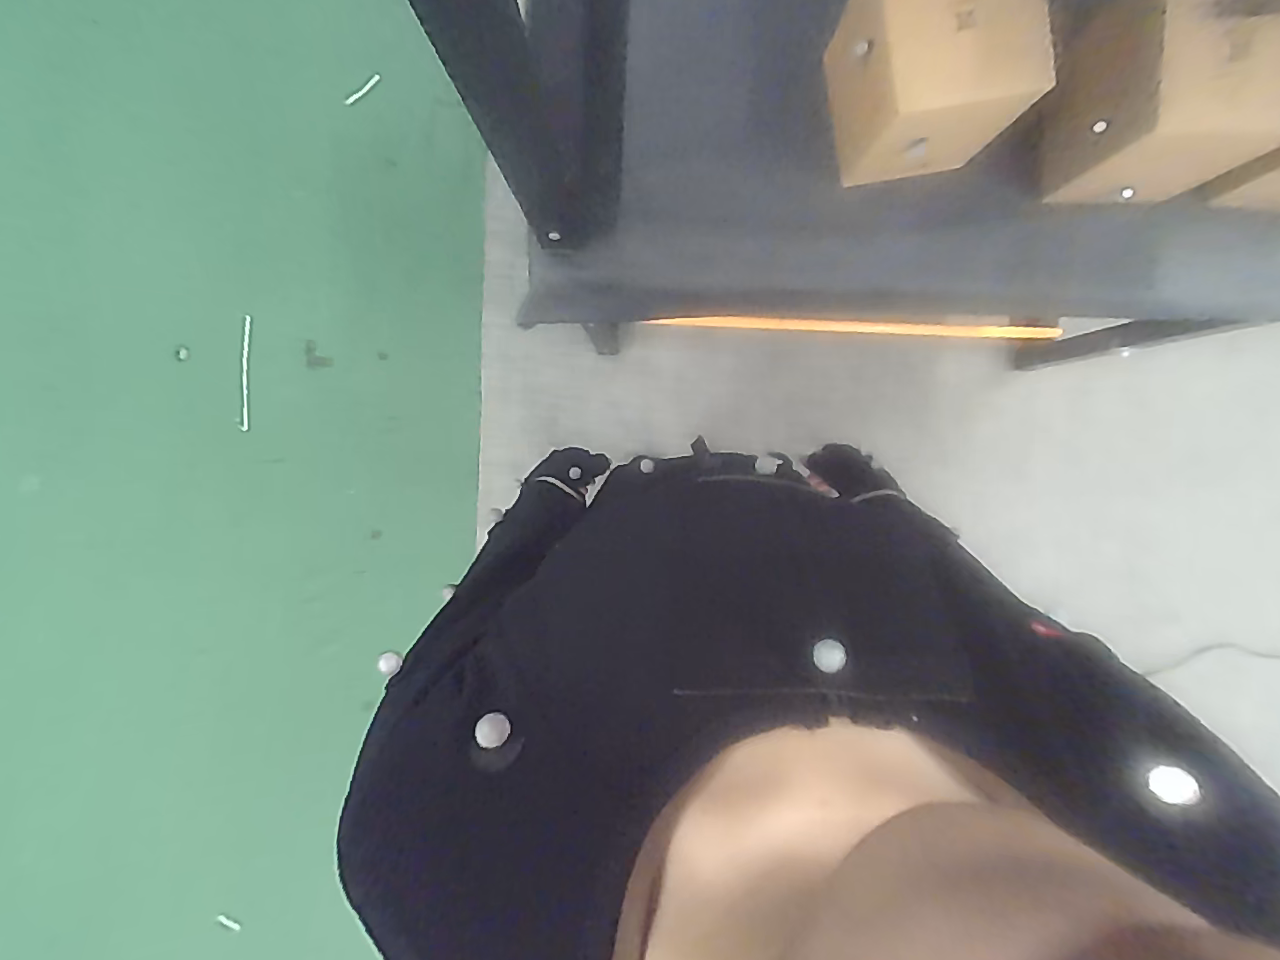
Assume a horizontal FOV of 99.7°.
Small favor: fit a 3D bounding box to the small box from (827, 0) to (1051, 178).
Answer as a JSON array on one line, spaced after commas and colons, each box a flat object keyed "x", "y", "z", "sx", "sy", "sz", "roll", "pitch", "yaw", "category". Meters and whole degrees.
[{"x": 0.336, "y": -0.484, "z": 0.638, "sx": 0.168, "sy": 0.176, "sz": 0.179, "roll": -9, "pitch": 93, "yaw": 2, "category": "small box"}]
